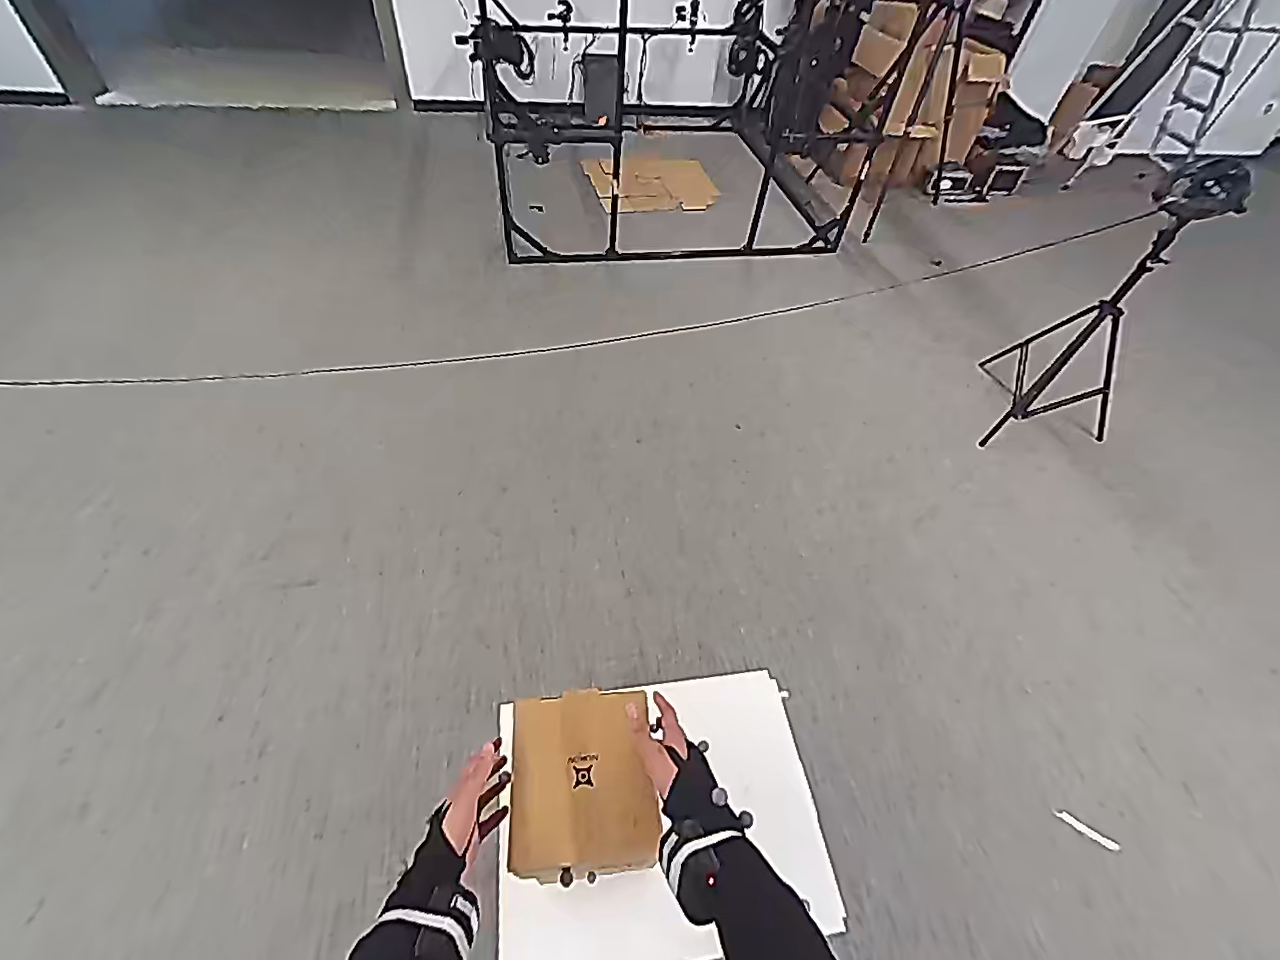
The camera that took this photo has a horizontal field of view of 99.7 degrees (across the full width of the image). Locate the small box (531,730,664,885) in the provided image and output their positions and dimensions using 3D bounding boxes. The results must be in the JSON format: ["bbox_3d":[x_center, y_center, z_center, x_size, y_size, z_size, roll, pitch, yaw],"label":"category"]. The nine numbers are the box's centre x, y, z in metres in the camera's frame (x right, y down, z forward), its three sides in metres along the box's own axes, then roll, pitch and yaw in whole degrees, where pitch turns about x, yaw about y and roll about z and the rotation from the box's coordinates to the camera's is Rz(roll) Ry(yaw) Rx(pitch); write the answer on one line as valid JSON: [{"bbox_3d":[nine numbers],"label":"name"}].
[{"bbox_3d":[-0.069,0.491,0.808,0.179,0.176,0.168,-2,51,-9],"label":"small box"}]
